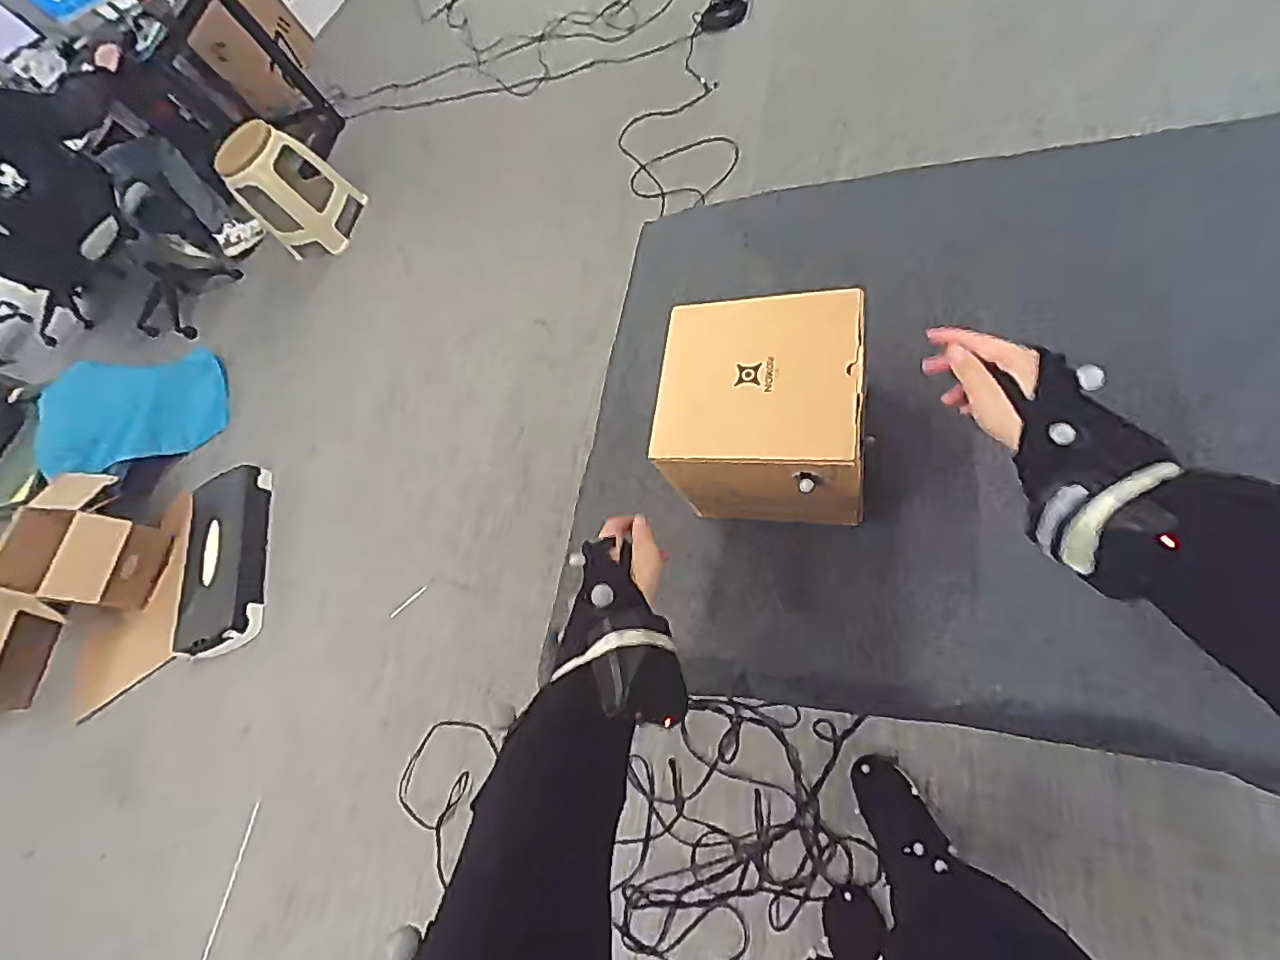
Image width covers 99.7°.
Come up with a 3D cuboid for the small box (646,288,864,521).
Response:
[{"bbox_3d":[0.126,-0.064,0.541,0.179,0.176,0.168,2,70,22],"label":"small box"}]
